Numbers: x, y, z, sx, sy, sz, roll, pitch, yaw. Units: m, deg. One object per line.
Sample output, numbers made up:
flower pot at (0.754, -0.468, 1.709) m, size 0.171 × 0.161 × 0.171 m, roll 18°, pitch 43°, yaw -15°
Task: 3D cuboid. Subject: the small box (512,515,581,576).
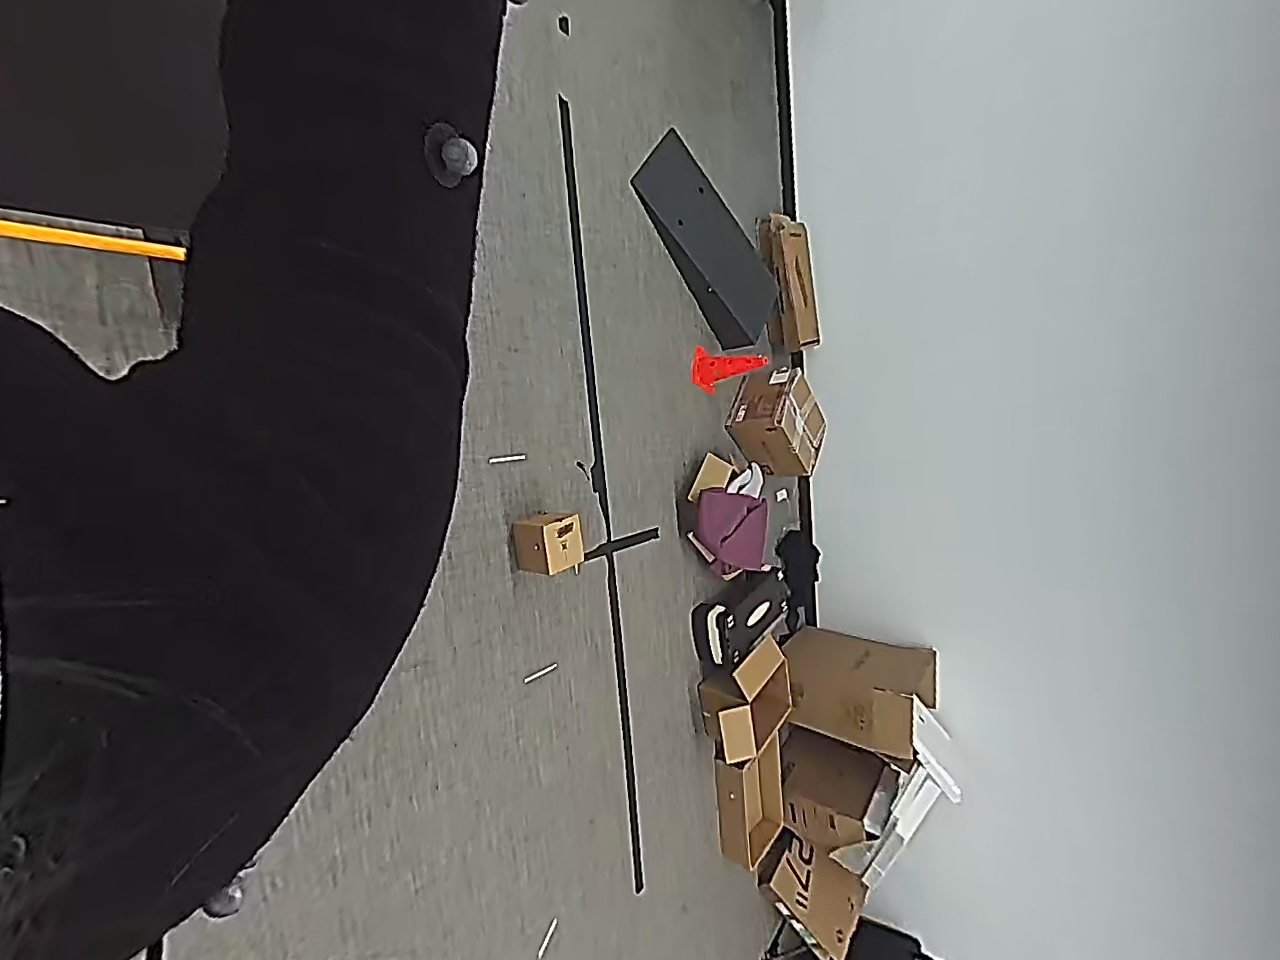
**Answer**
small box at (-0.331, 0.222, 1.897) m, size 0.168 × 0.176 × 0.179 m, roll -17°, pitch 105°, yaw -49°
